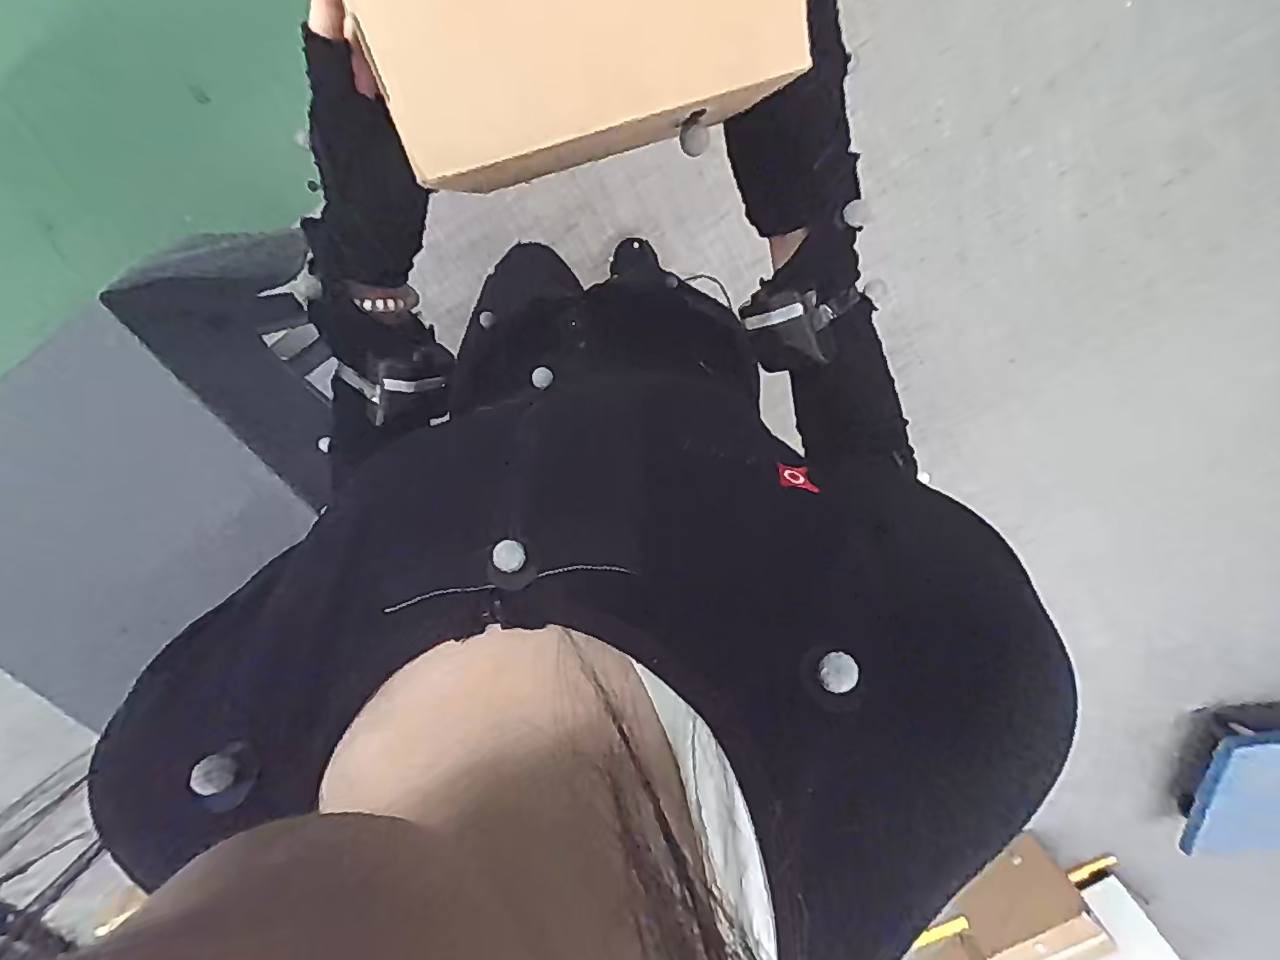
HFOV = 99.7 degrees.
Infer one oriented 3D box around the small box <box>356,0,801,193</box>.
[{"bbox_3d":[-0.040,-0.259,0.274,0.179,0.176,0.168,-16,116,3],"label":"small box"}]
